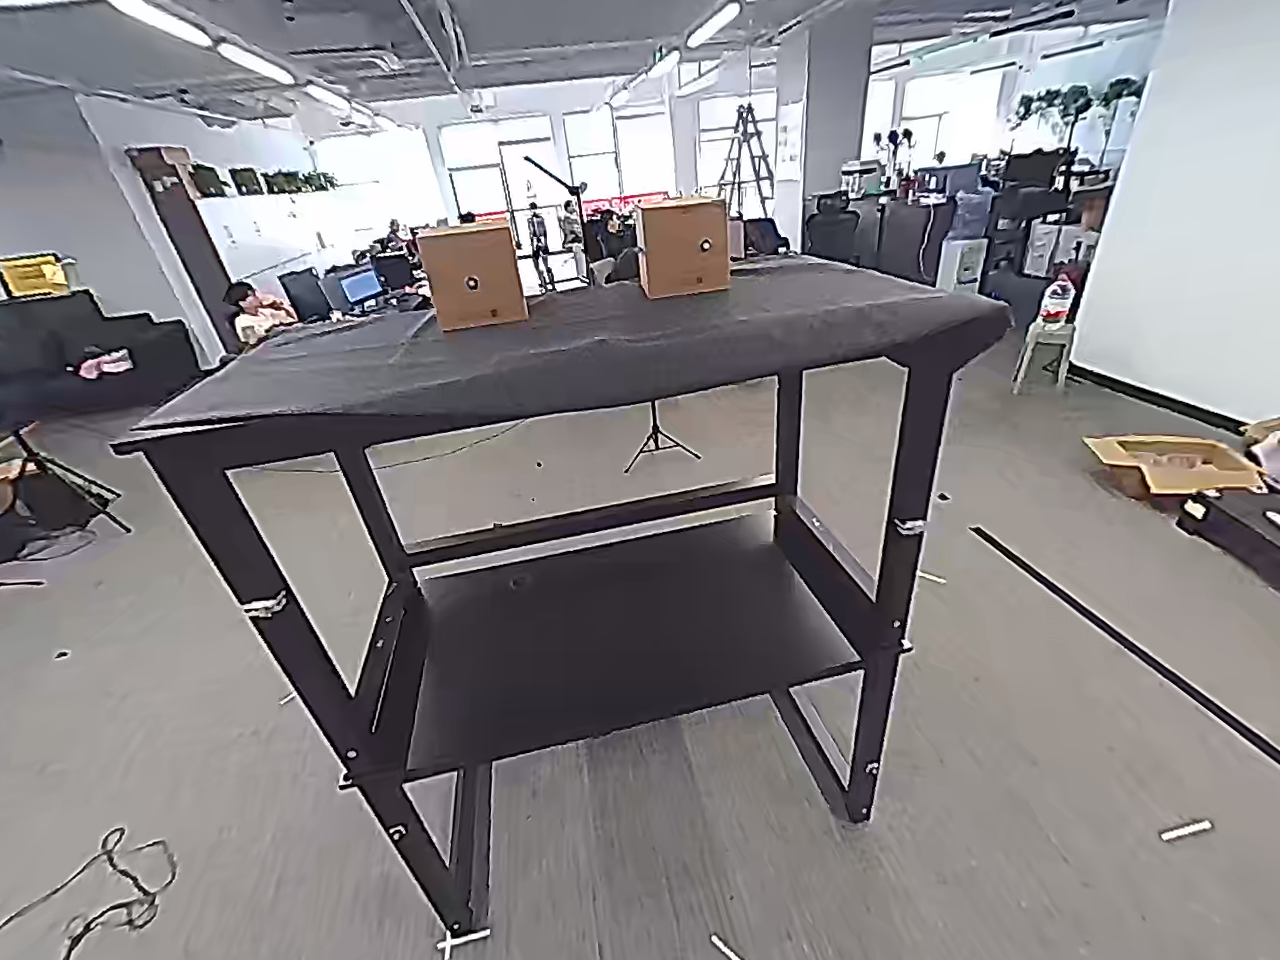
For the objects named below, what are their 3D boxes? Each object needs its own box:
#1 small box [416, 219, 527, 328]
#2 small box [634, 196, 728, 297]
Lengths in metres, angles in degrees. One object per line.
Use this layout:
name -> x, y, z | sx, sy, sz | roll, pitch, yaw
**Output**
small box -> -0.318, -0.401, 1.054 | 0.168, 0.176, 0.179 | -11, 31, -8
small box -> 0.083, -0.480, 1.116 | 0.168, 0.176, 0.179 | -7, 30, -3
